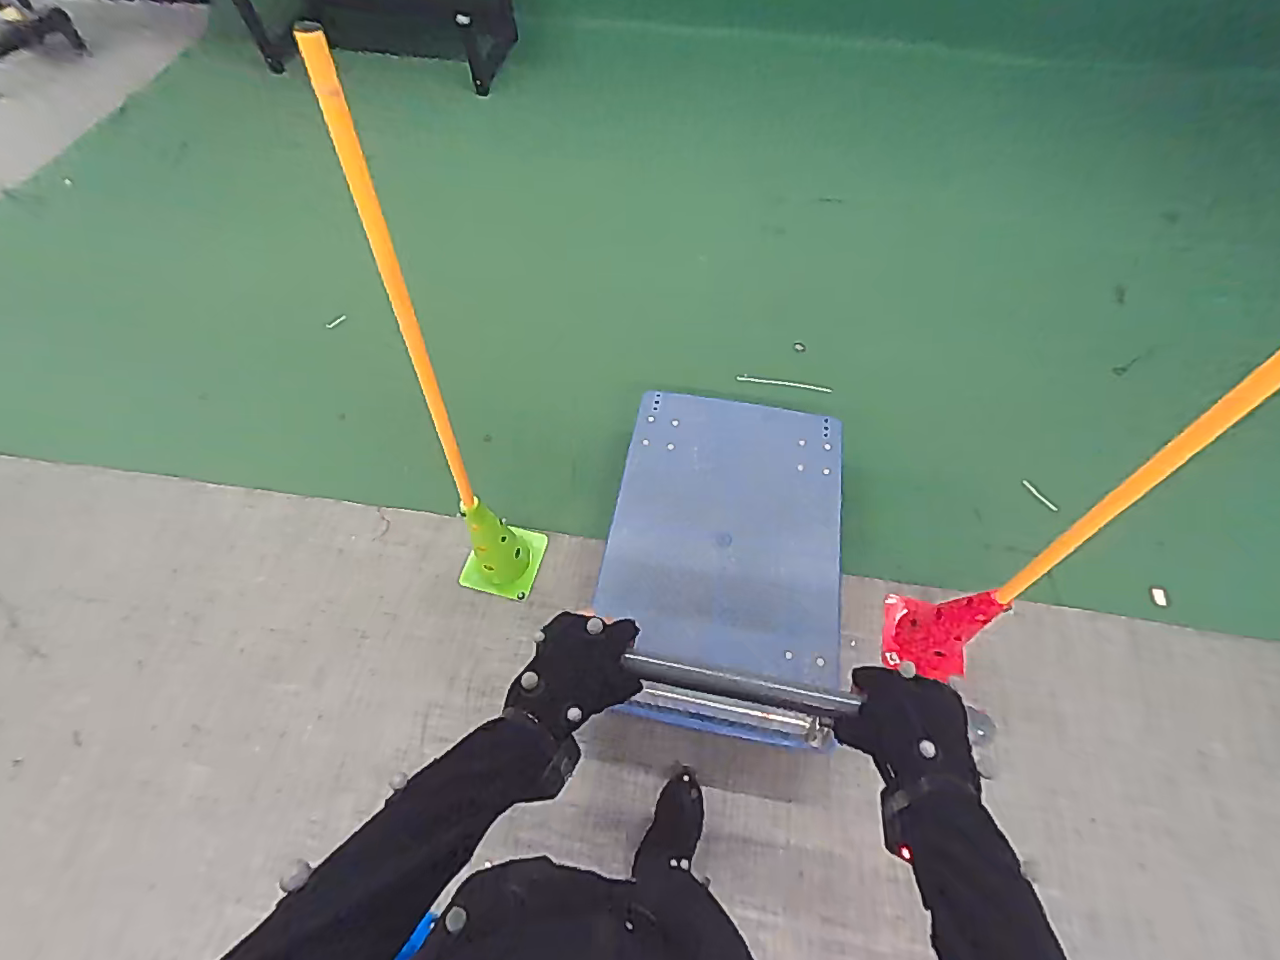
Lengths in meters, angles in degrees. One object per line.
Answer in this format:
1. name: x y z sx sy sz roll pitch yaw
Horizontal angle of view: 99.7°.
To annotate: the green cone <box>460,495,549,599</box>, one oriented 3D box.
1. green cone: -0.379 0.137 1.374 0.202 0.368 0.200 12 61 8
